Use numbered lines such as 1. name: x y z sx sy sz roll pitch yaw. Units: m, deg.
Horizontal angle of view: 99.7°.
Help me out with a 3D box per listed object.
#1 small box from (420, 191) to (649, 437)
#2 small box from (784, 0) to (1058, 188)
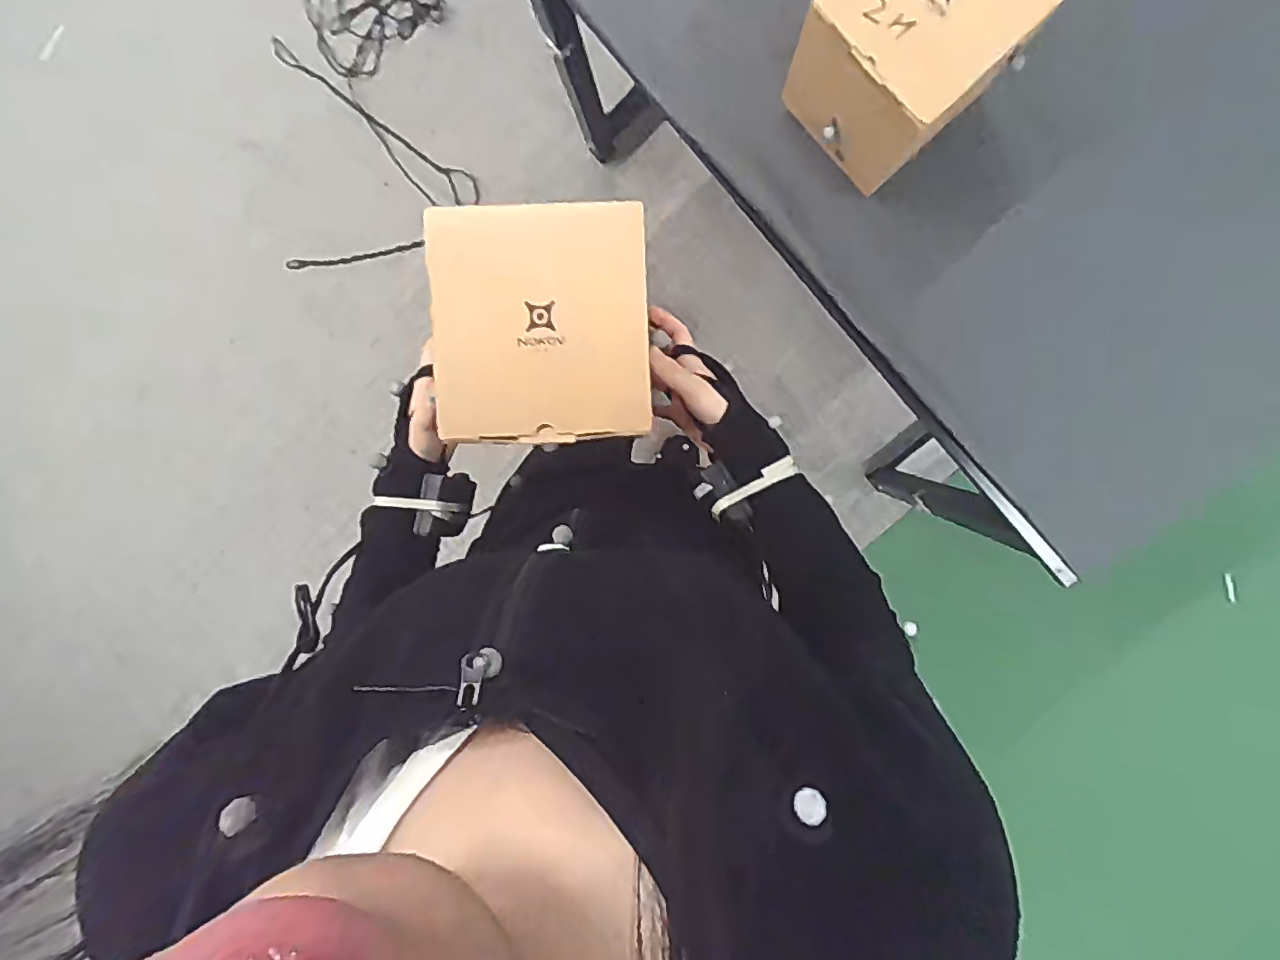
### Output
1. small box: -0.081 -0.129 0.481 0.168 0.176 0.179 -3 95 -2
2. small box: 0.280 -0.462 0.577 0.179 0.176 0.168 -43 91 8
